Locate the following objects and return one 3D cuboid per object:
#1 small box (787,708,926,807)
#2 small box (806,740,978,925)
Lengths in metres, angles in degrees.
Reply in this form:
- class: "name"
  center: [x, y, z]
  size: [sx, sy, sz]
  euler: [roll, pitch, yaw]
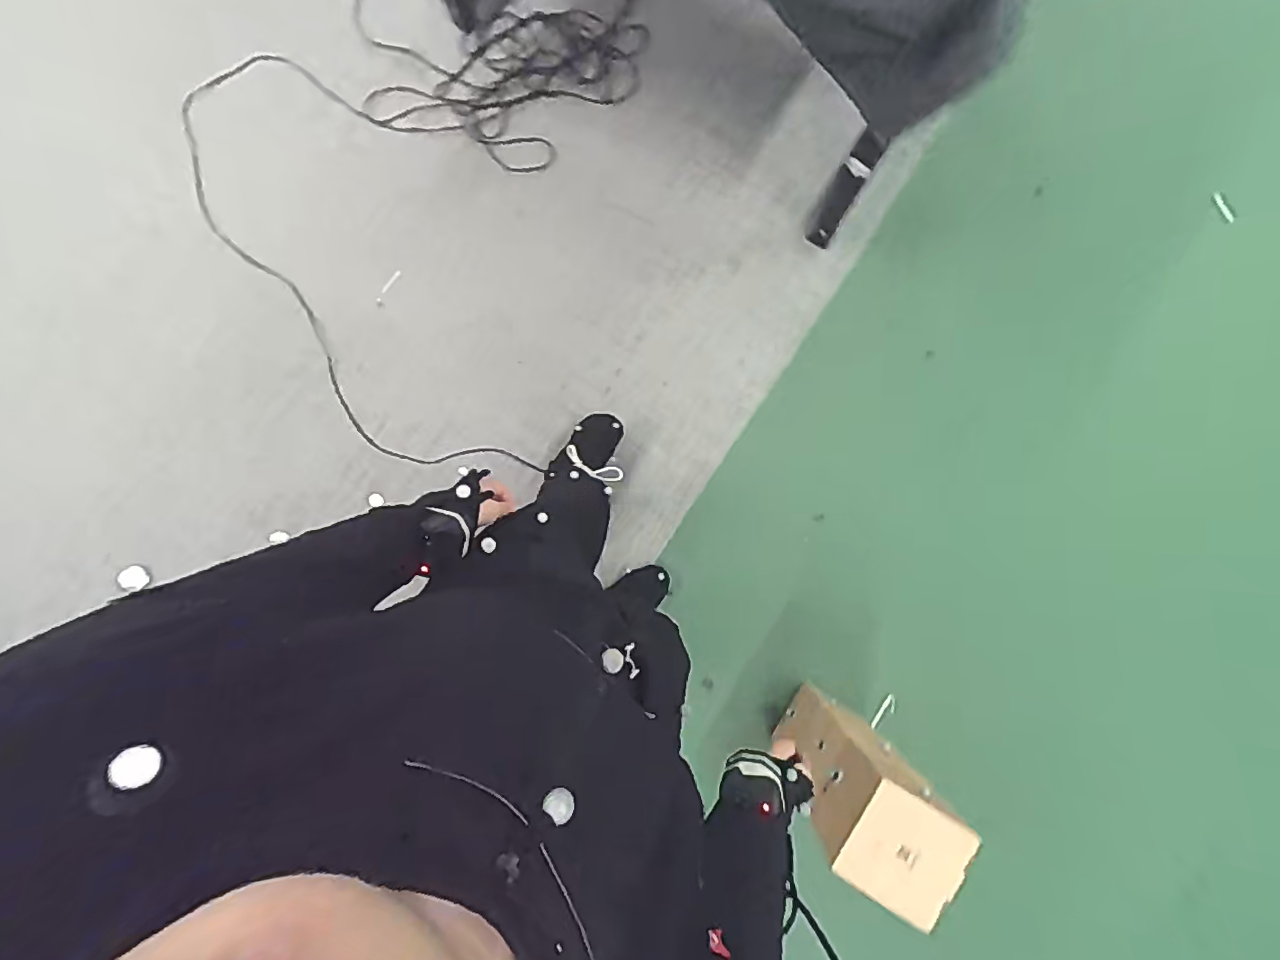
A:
- class: "small box"
  center: [0.419, 0.585, 1.083]
  size: [0.179, 0.176, 0.168]
  euler: [30, 88, 3]
- class: "small box"
  center: [0.414, 0.581, 0.921]
  size: [0.179, 0.176, 0.168]
  euler: [31, 88, 4]
